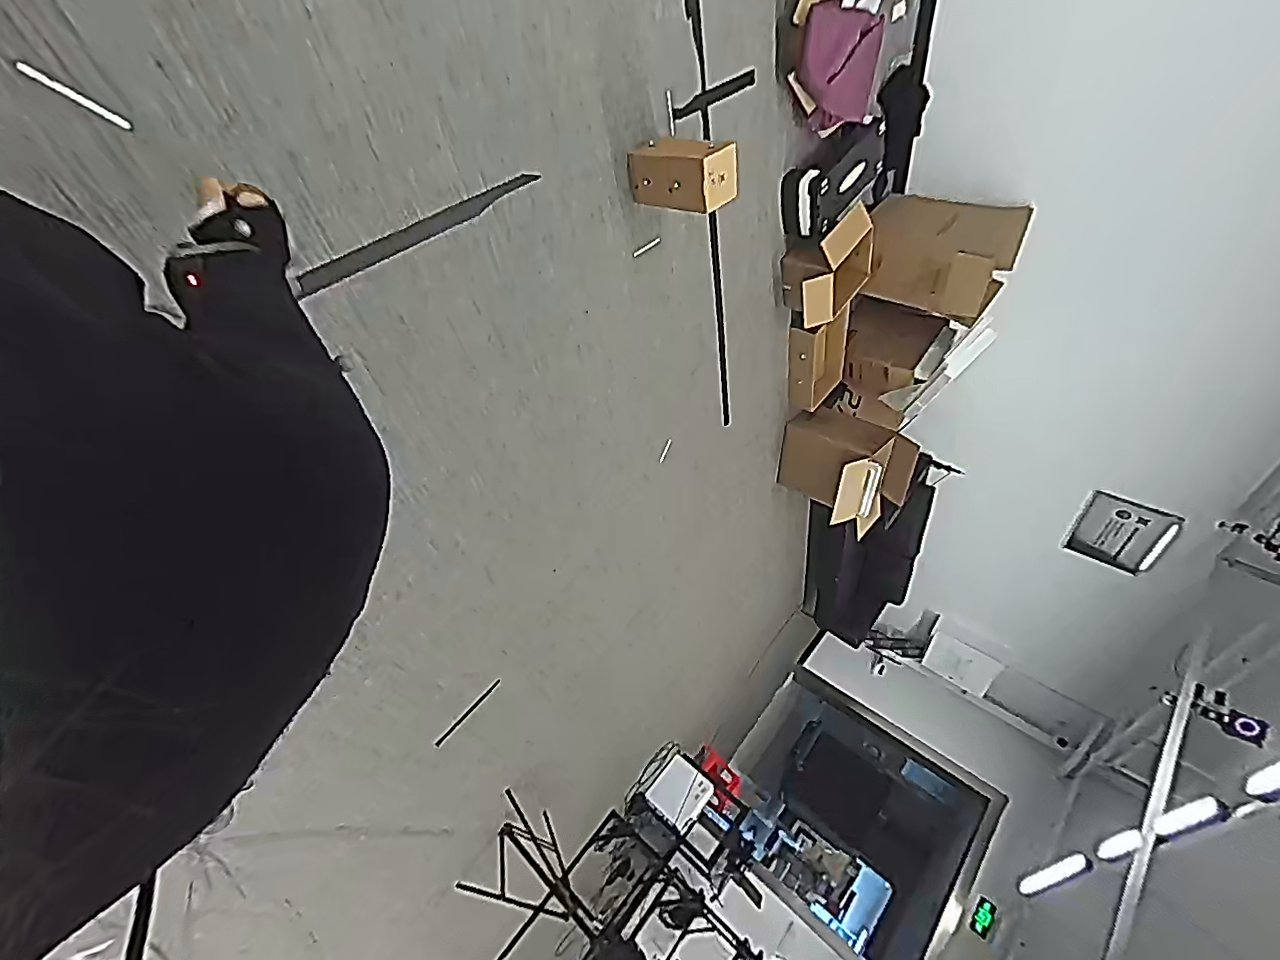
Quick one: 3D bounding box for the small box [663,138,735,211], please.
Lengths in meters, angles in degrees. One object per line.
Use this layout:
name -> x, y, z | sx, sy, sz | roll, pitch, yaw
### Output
small box -> 0.198, -1.018, 1.791 | 0.179, 0.176, 0.168 | -41, 141, -27

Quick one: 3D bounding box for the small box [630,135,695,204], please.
small box -> 0.082, -1.086, 1.888 | 0.179, 0.176, 0.168 | -42, 142, -25
